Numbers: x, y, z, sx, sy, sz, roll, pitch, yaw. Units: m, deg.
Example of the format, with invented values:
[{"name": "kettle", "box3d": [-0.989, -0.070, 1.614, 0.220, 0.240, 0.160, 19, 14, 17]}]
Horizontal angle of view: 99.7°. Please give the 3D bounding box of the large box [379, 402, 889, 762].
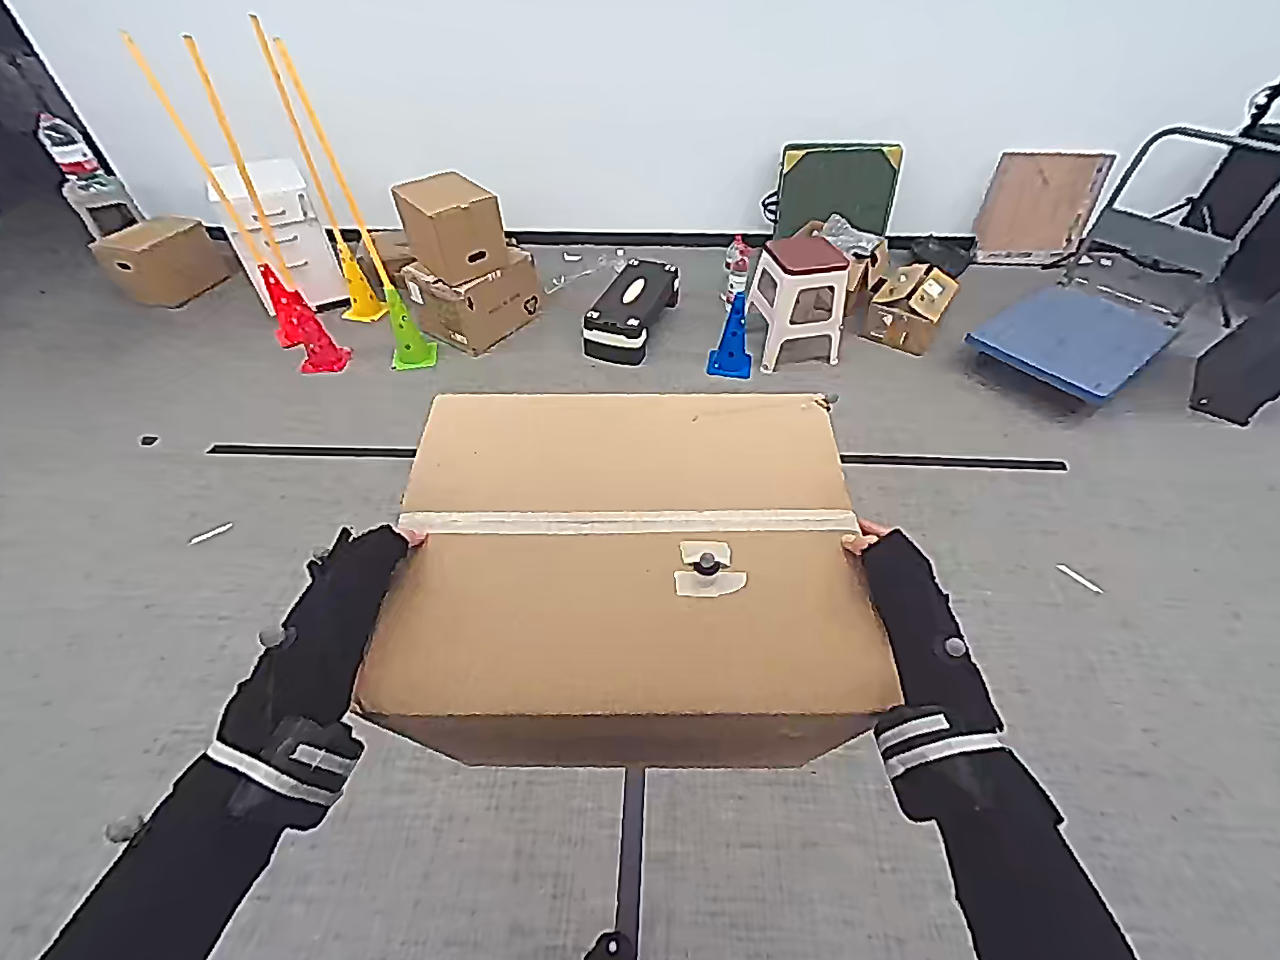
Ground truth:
[{"name": "large box", "box3d": [-0.007, 0.127, 0.619, 0.408, 0.320, 0.320, 0, 56, 0]}]
